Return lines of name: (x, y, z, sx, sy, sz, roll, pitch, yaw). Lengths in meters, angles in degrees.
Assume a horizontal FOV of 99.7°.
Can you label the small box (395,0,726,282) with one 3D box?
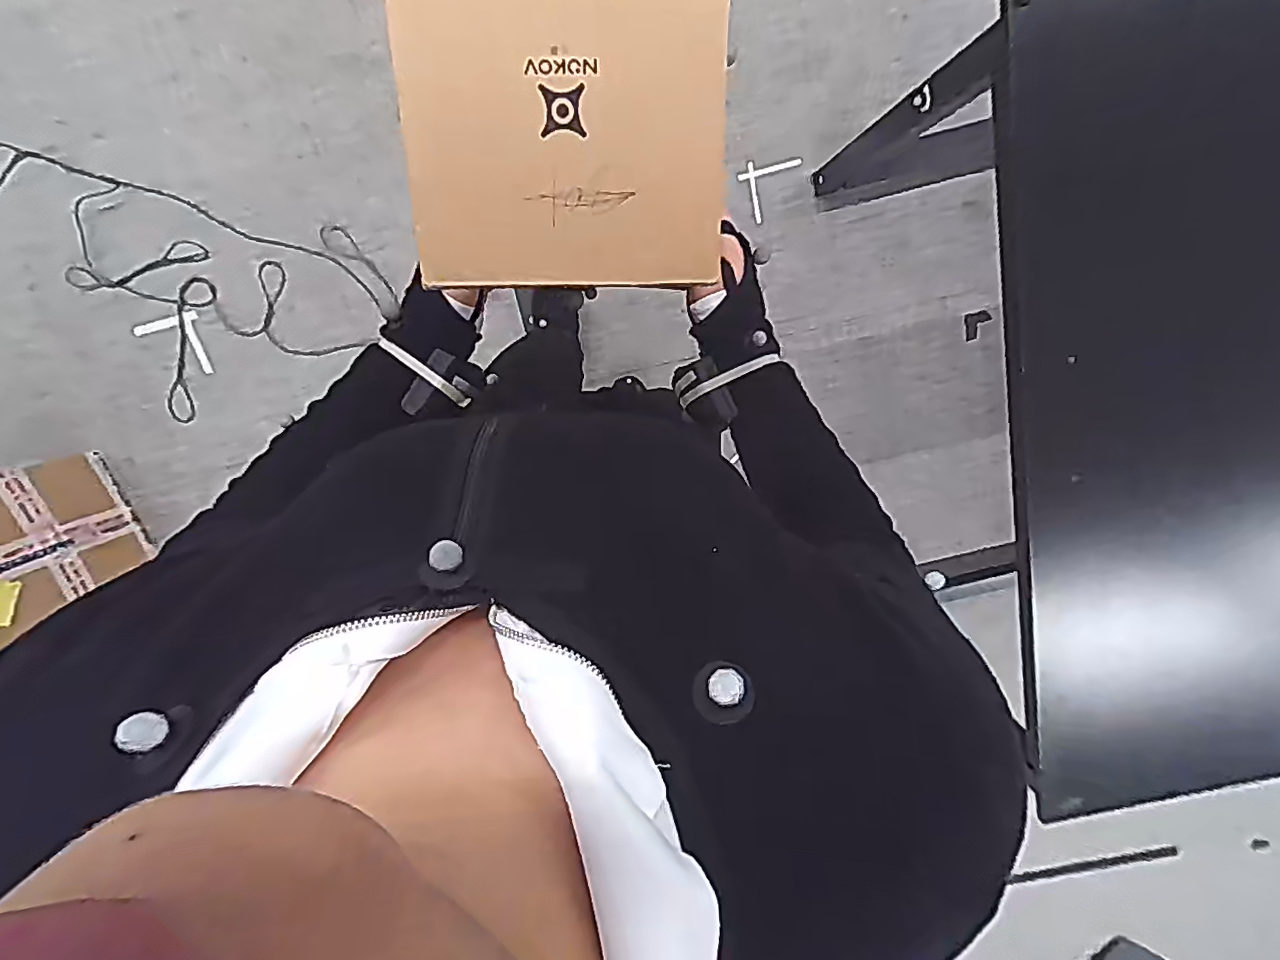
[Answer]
small box: (-0.041, -0.225, 0.354, 0.168, 0.176, 0.179, 0, 110, 0)
